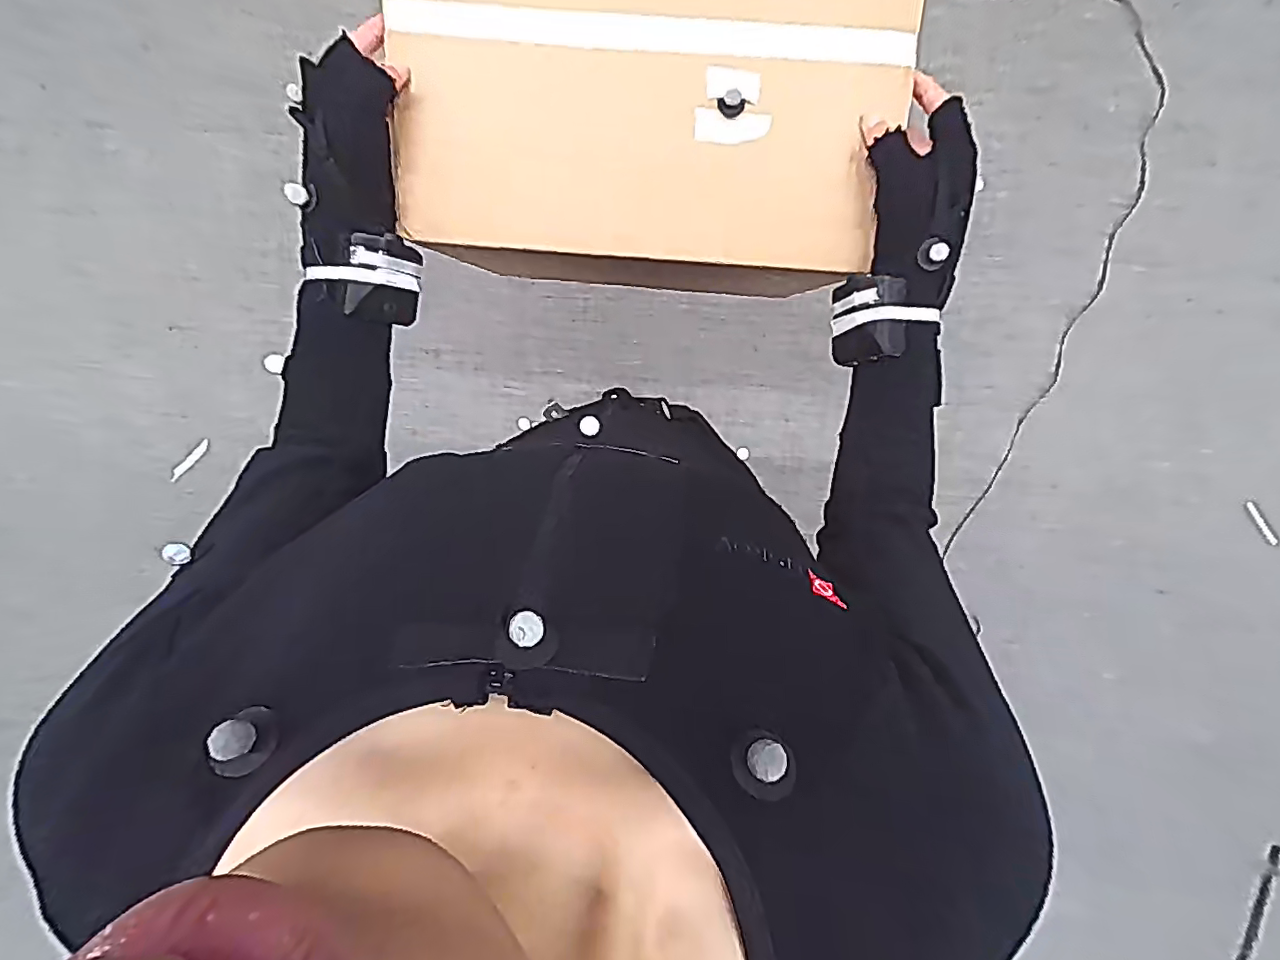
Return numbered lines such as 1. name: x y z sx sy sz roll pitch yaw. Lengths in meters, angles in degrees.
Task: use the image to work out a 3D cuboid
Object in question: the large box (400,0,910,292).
1. large box: 0.009 -0.383 0.570 0.408 0.320 0.320 4 105 0
